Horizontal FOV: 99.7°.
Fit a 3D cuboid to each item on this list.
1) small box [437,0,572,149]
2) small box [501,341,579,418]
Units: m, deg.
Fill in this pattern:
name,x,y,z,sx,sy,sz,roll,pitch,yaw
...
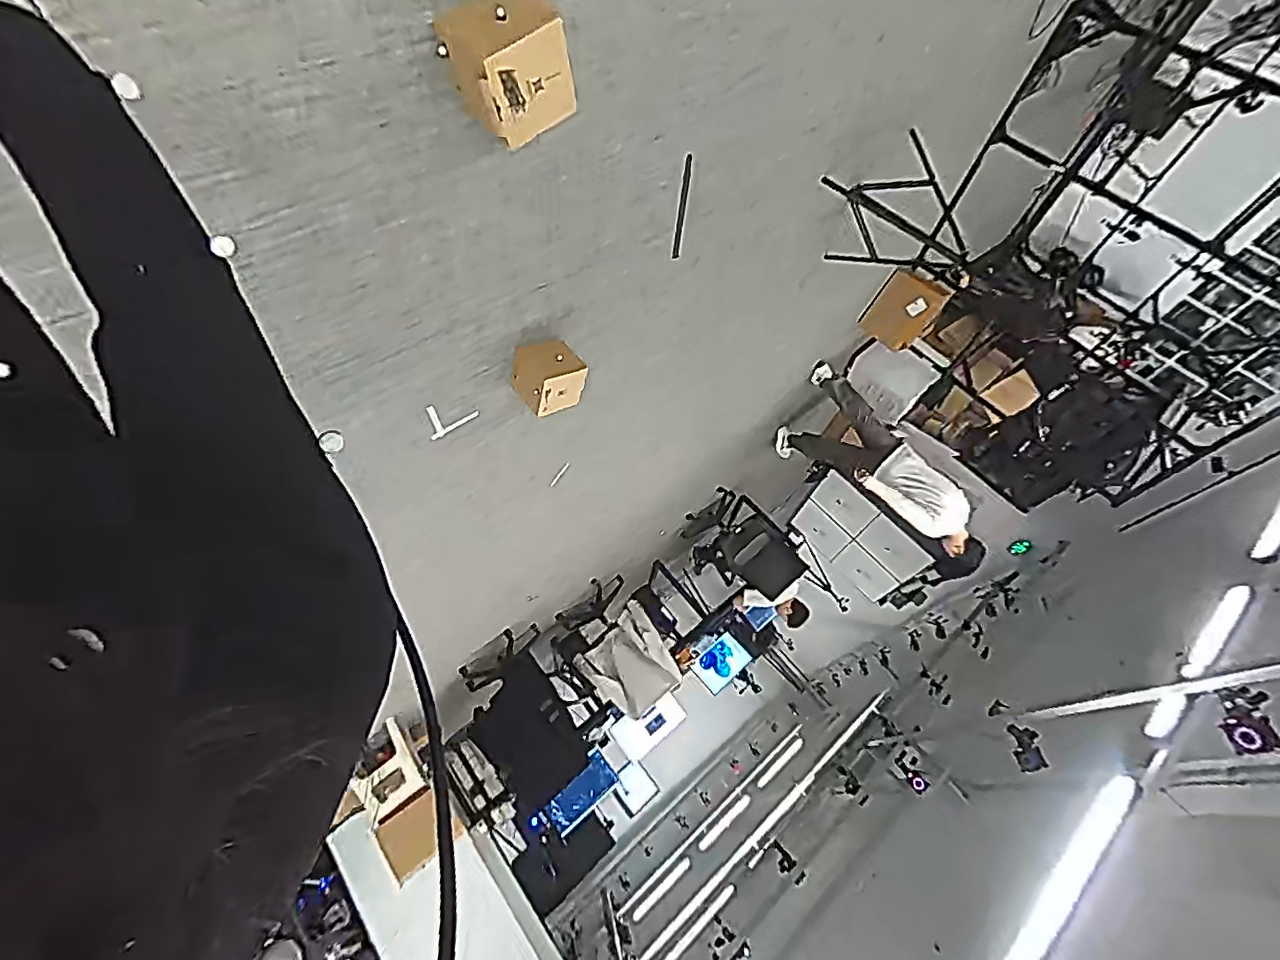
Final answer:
name,x,y,z,sx,sy,sz,roll,pitch,yaw
small box,-0.259,-0.783,1.029,0.179,0.176,0.168,-39,160,-13
small box,-0.335,-0.339,1.791,0.179,0.176,0.168,-27,155,-38
